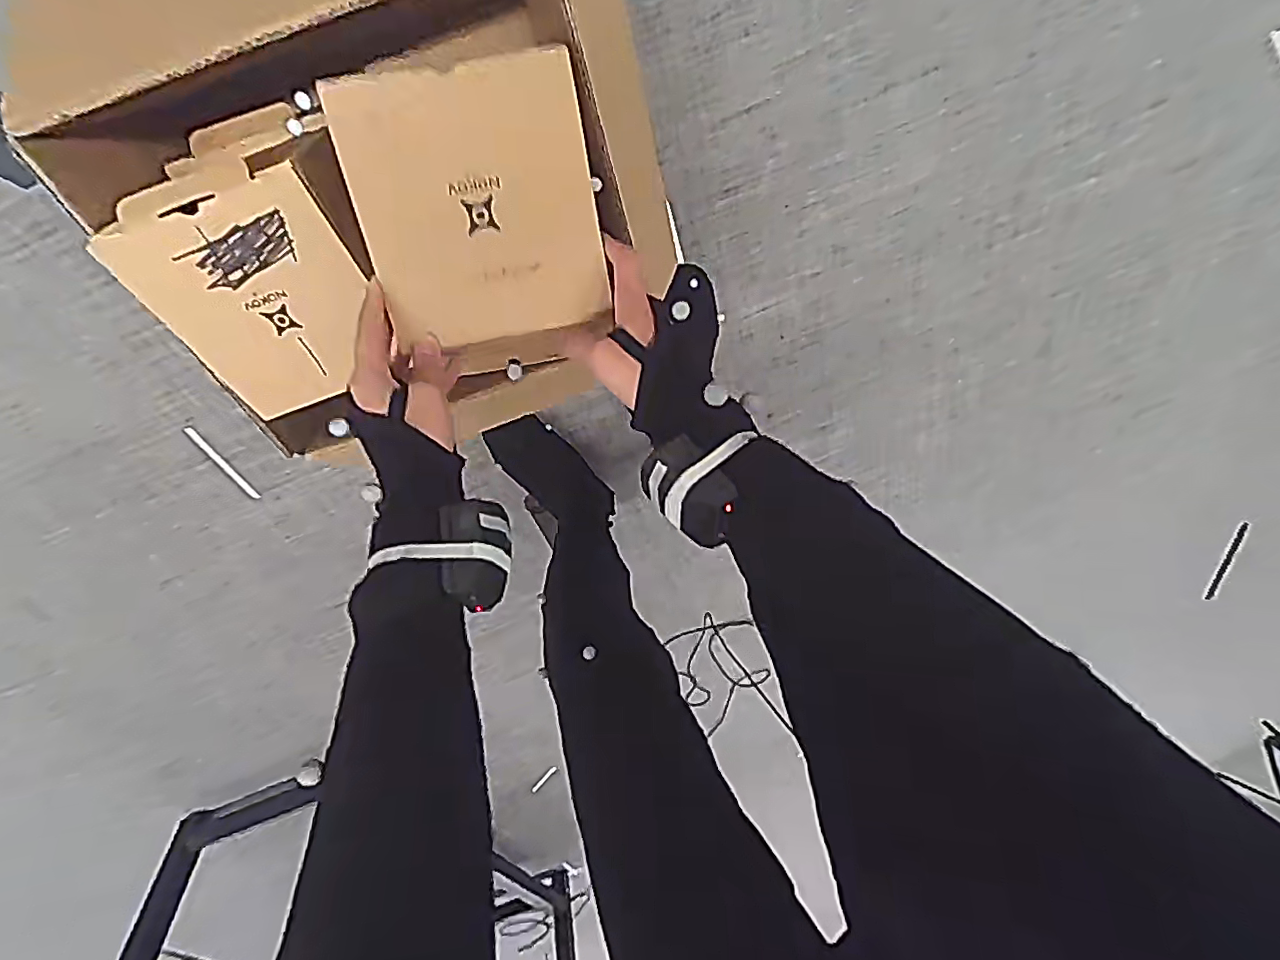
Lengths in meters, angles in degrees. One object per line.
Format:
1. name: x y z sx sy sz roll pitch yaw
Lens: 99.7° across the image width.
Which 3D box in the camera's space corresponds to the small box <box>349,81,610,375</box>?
1. small box: -0.124 -0.203 0.482 0.168 0.176 0.179 -11 94 -3
